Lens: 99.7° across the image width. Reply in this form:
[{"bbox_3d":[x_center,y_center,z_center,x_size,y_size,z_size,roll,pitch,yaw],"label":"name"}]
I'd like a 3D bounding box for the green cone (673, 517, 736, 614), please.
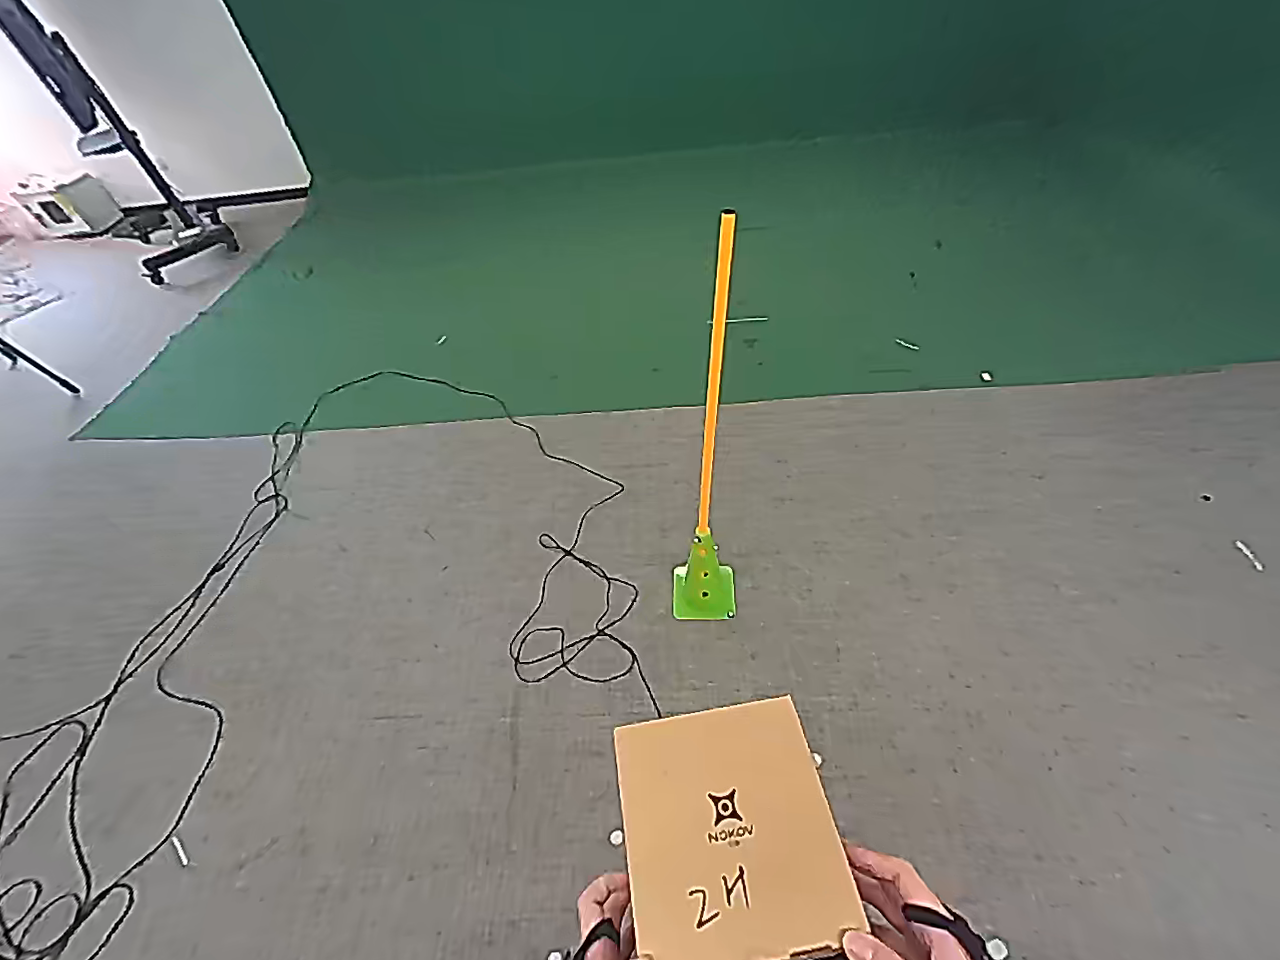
[{"bbox_3d":[0.190,0.235,1.651,0.202,0.368,0.200,-3,48,6],"label":"green cone"}]
